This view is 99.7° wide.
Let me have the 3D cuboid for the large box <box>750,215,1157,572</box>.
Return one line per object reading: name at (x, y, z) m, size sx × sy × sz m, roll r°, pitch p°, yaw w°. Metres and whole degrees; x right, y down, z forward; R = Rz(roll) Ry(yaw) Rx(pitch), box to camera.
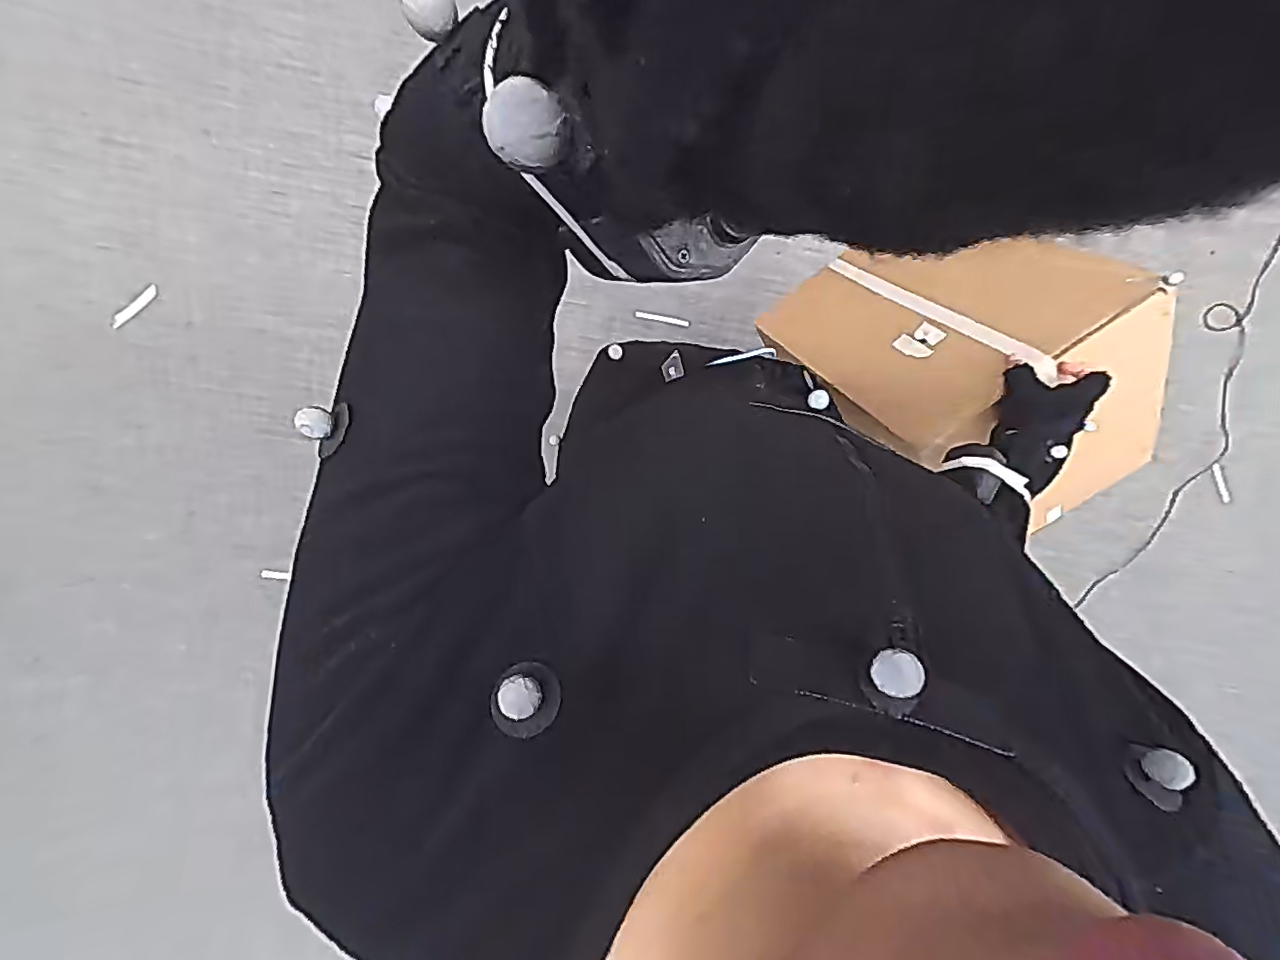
large box at (0.439, -0.142, 0.838) m, size 0.320 × 0.408 × 0.320 m, roll -36°, pitch 132°, yaw 7°
